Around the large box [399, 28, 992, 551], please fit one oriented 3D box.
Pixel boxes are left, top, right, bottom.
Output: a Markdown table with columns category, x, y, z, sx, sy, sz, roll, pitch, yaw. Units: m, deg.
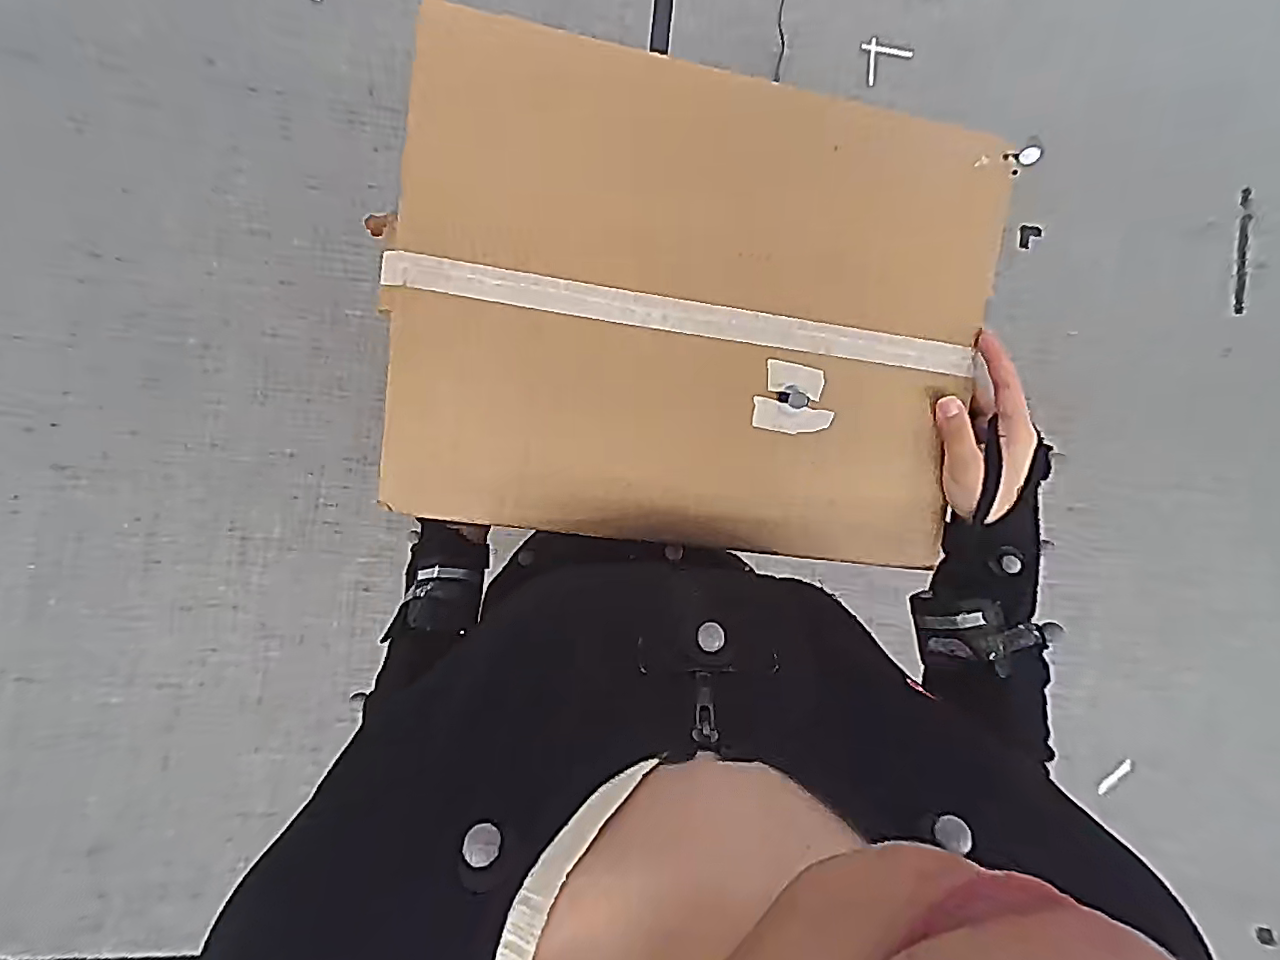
| category | x | y | z | sx | sy | sz | roll | pitch | yaw |
| --- | --- | --- | --- | --- | --- | --- | --- | --- | --- |
| large box | 0.024 | -0.129 | 0.523 | 0.408 | 0.320 | 0.320 | 6 | 97 | -10 |
